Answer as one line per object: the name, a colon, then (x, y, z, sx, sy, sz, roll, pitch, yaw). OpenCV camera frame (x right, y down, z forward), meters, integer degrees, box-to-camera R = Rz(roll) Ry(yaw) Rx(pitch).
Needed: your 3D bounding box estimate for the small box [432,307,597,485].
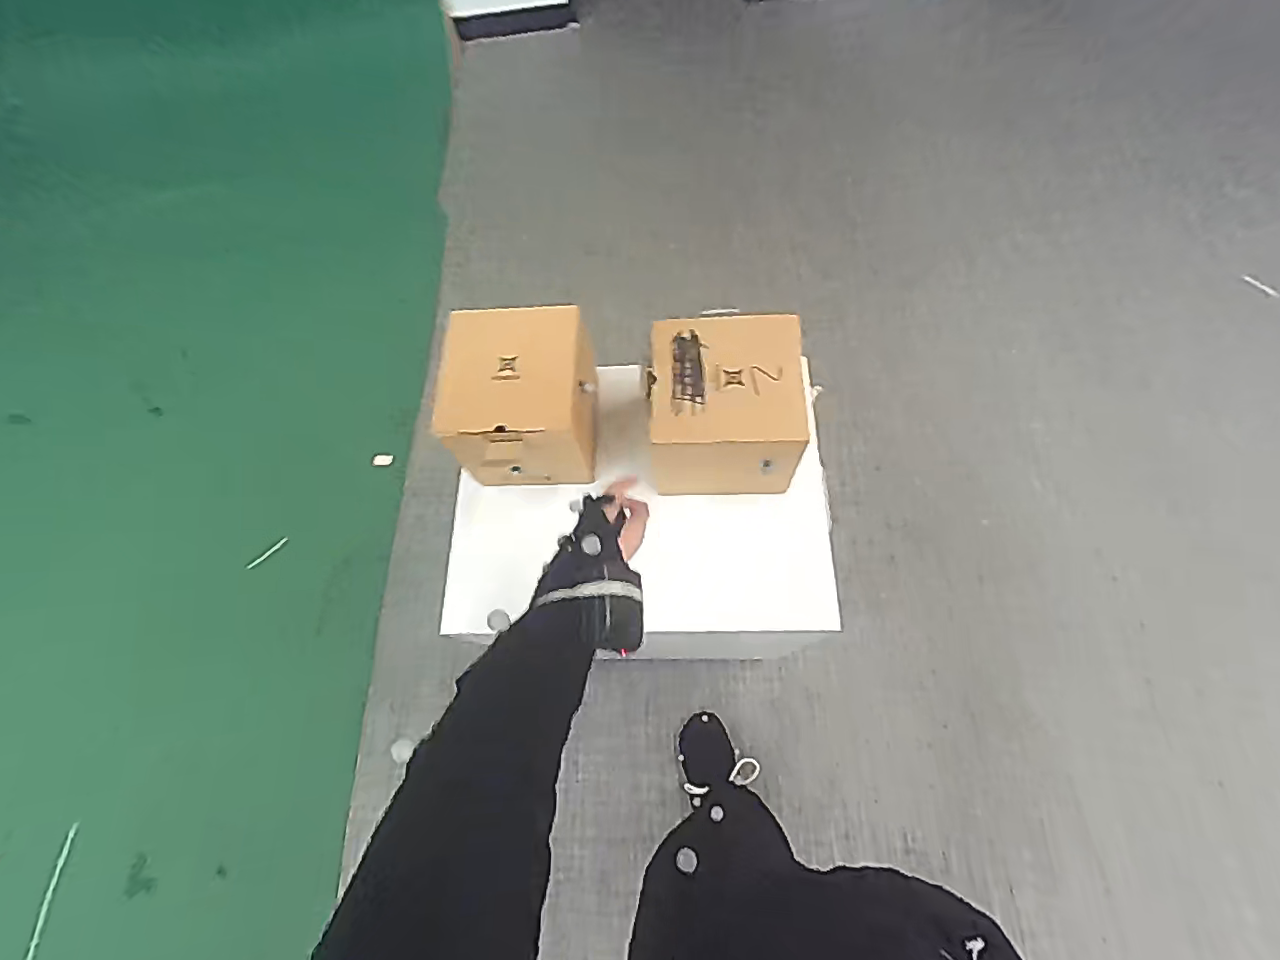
small box: (-0.151, -0.104, 0.718, 0.168, 0.176, 0.179, -1, 69, 4)
